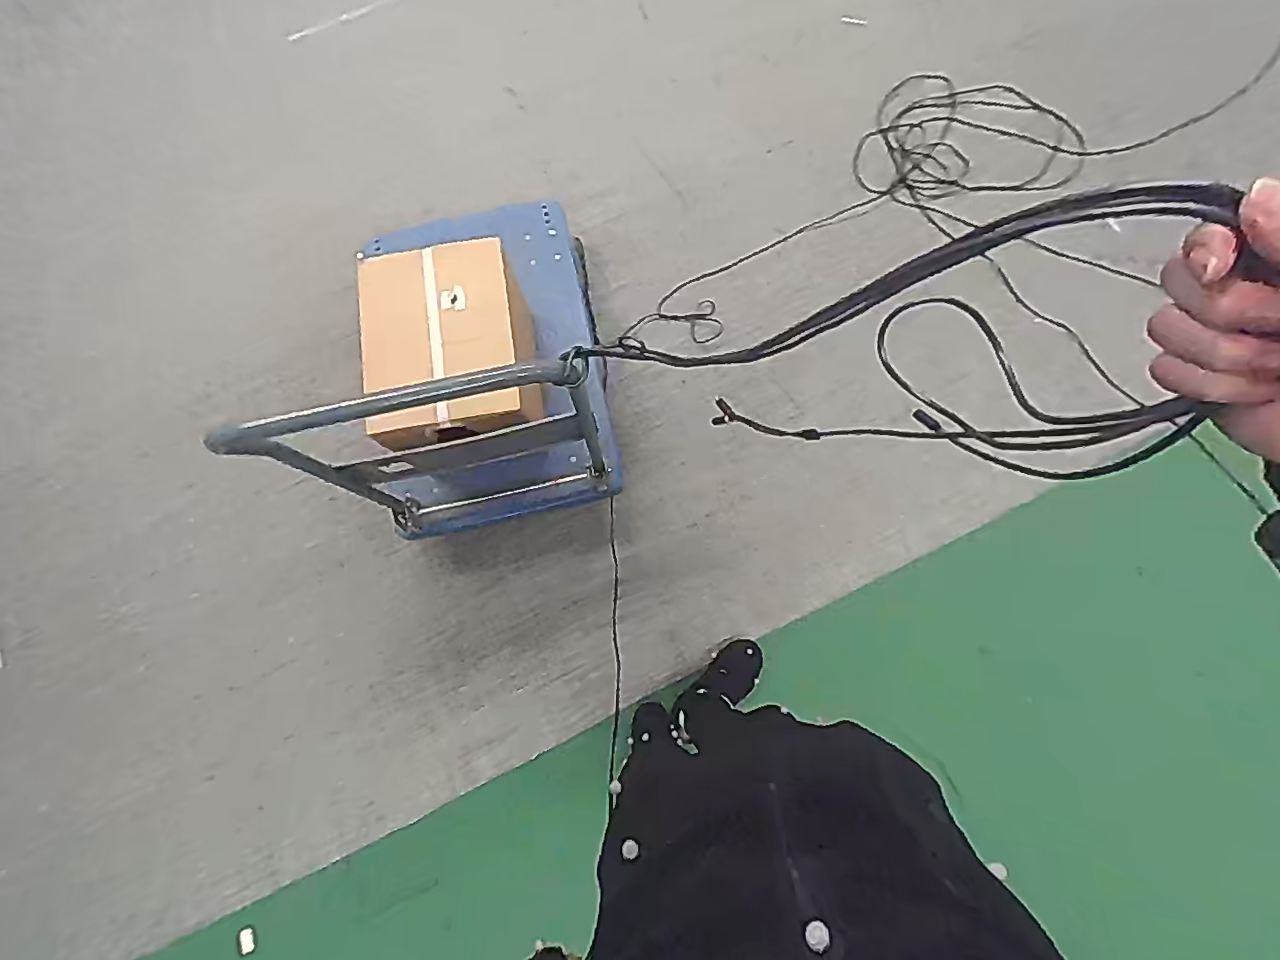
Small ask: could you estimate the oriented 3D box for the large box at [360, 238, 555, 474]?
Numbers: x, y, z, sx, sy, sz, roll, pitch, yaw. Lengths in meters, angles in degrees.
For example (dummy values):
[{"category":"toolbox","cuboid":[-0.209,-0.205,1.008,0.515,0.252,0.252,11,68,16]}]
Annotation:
[{"category":"large box","cuboid":[-0.402,-0.264,1.249,0.320,0.320,0.408,-10,76,-2]}]
